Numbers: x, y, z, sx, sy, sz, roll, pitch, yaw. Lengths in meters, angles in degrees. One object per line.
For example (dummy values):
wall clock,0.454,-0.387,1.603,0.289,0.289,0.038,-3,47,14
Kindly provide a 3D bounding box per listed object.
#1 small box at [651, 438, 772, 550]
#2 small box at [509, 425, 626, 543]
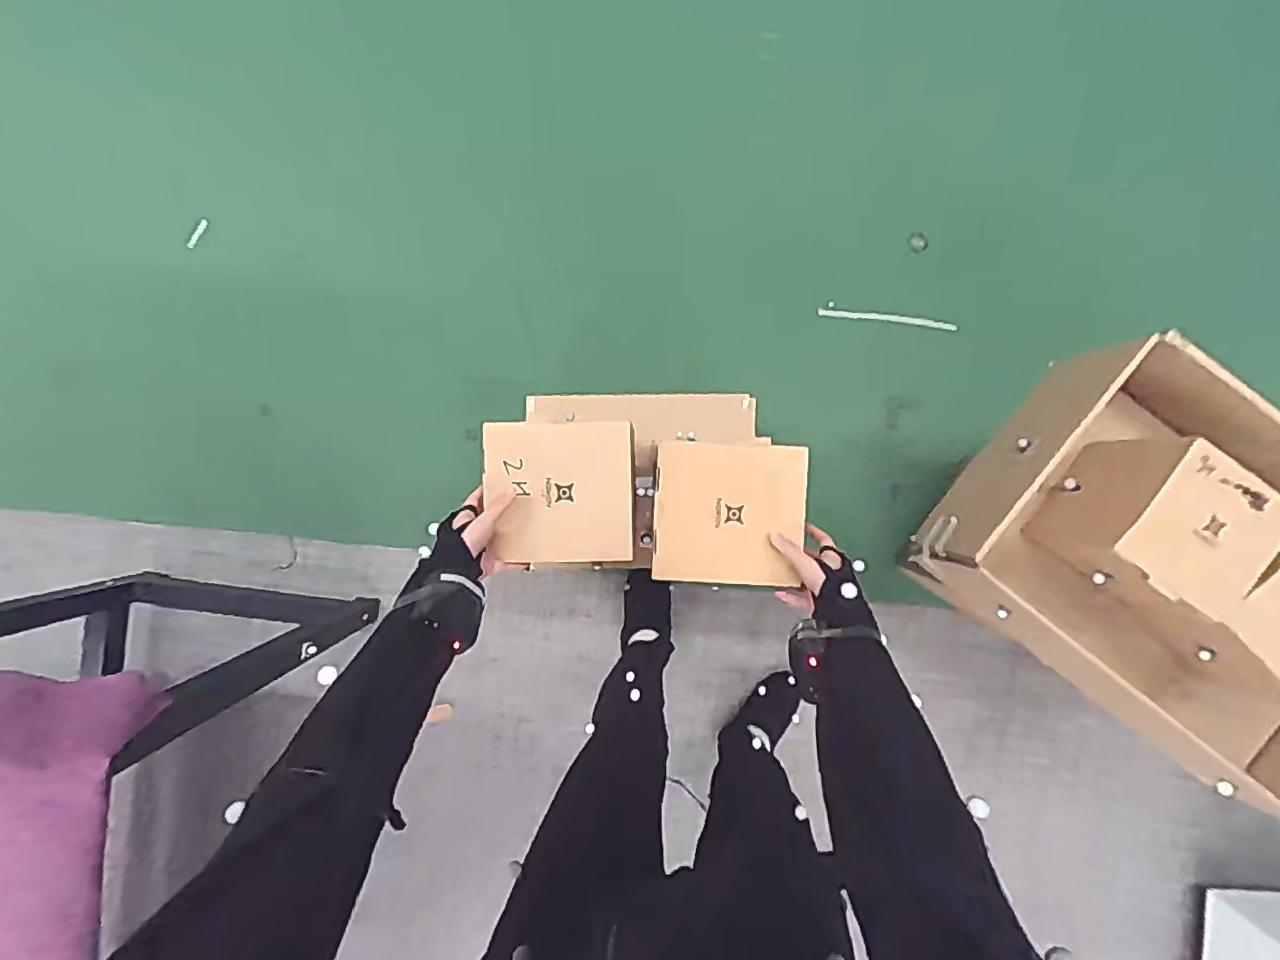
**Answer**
small box,0.109,0.020,0.871,0.179,0.176,0.168,-1,92,2
small box,-0.110,0.005,0.876,0.168,0.176,0.179,0,91,2
